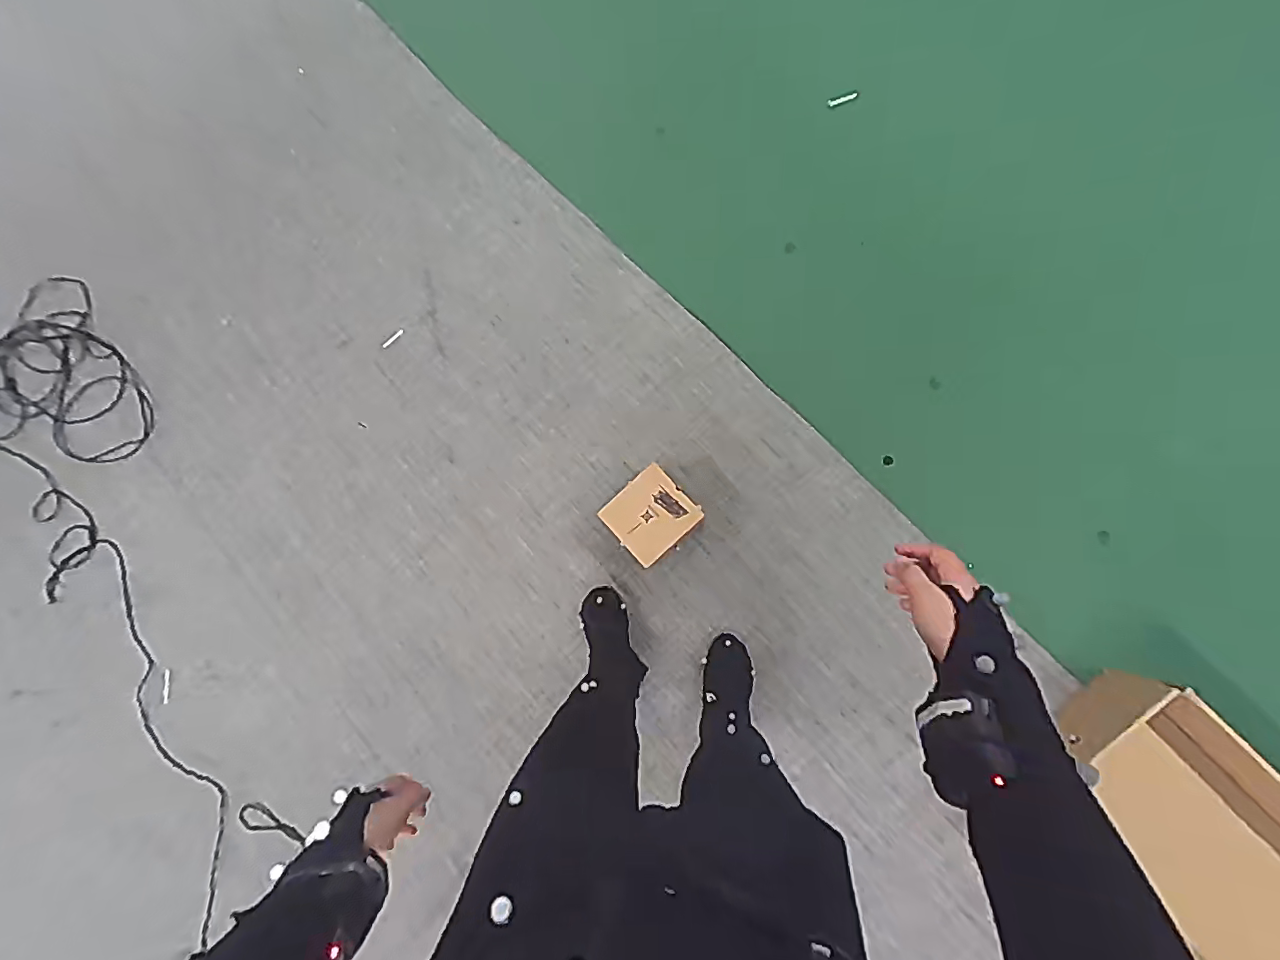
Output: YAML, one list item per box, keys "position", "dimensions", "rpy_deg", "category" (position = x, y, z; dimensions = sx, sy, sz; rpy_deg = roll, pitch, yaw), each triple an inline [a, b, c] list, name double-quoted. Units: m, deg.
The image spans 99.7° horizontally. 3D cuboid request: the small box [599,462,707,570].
- position: [0.034, 0.084, 1.234]
  dimensions: [0.179, 0.176, 0.168]
  rpy_deg: [-42, 80, 1]
  category: "small box"
